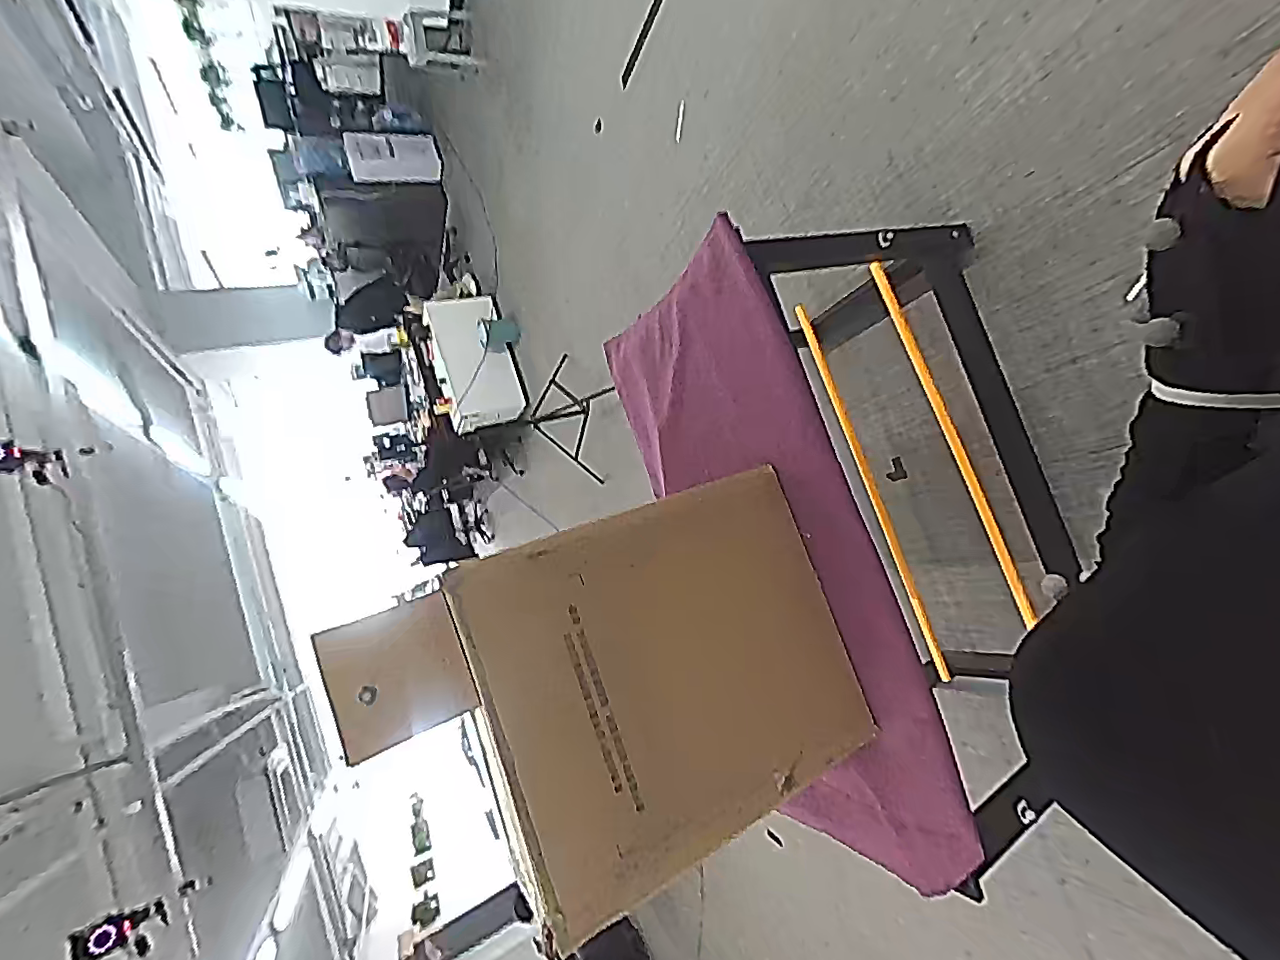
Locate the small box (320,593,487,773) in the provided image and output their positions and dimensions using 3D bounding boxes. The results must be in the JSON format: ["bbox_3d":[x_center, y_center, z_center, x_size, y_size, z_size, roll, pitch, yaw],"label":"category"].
[{"bbox_3d":[-0.332,0.280,0.778,0.168,0.176,0.179,-38,72,62],"label":"small box"}]
